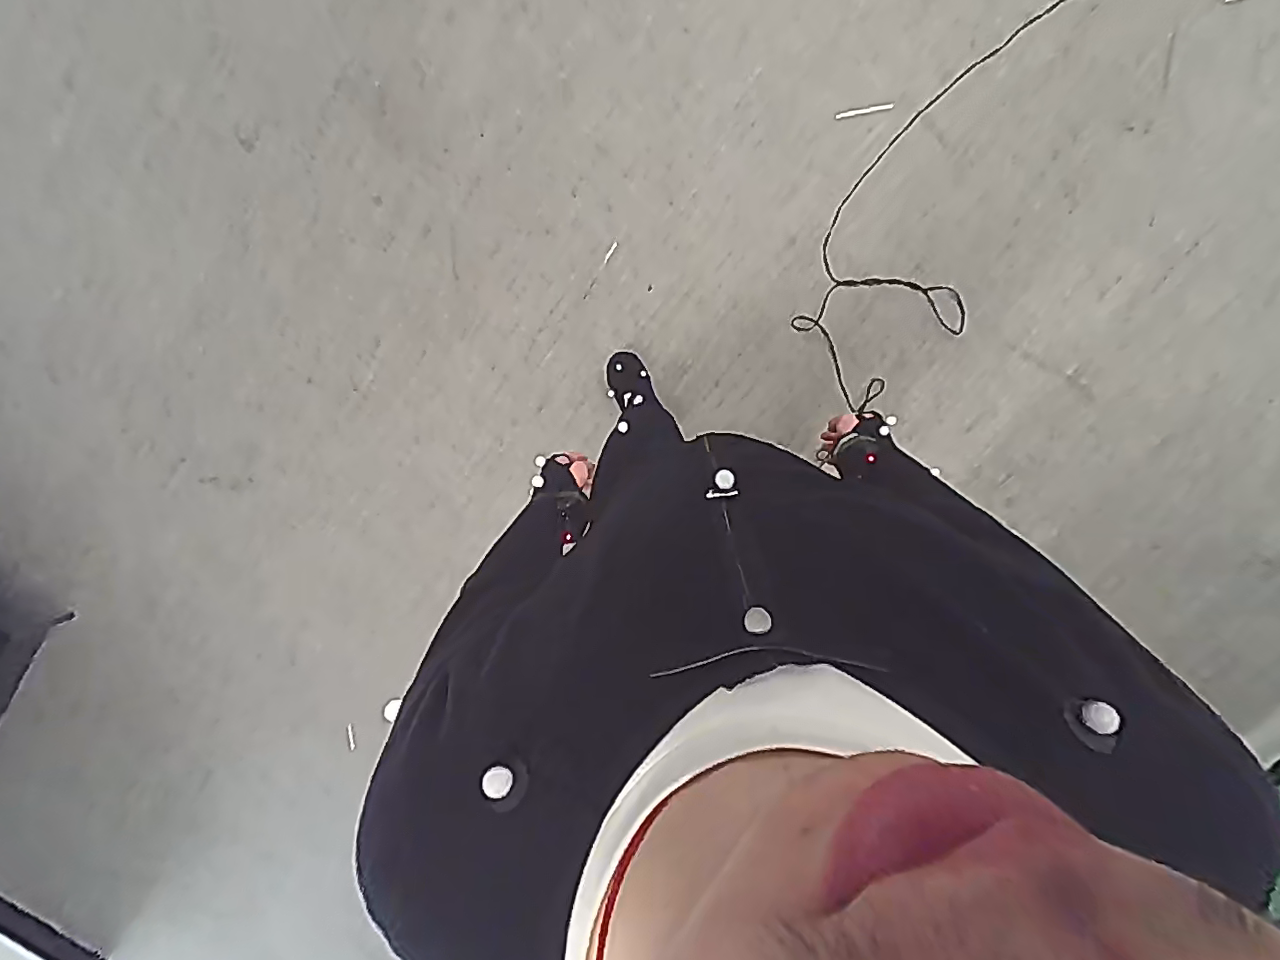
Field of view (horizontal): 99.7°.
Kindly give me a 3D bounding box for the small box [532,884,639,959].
[{"bbox_3d":[-0.115,0.983,1.100,0.168,0.176,0.179,38,102,-5],"label":"small box"}]
